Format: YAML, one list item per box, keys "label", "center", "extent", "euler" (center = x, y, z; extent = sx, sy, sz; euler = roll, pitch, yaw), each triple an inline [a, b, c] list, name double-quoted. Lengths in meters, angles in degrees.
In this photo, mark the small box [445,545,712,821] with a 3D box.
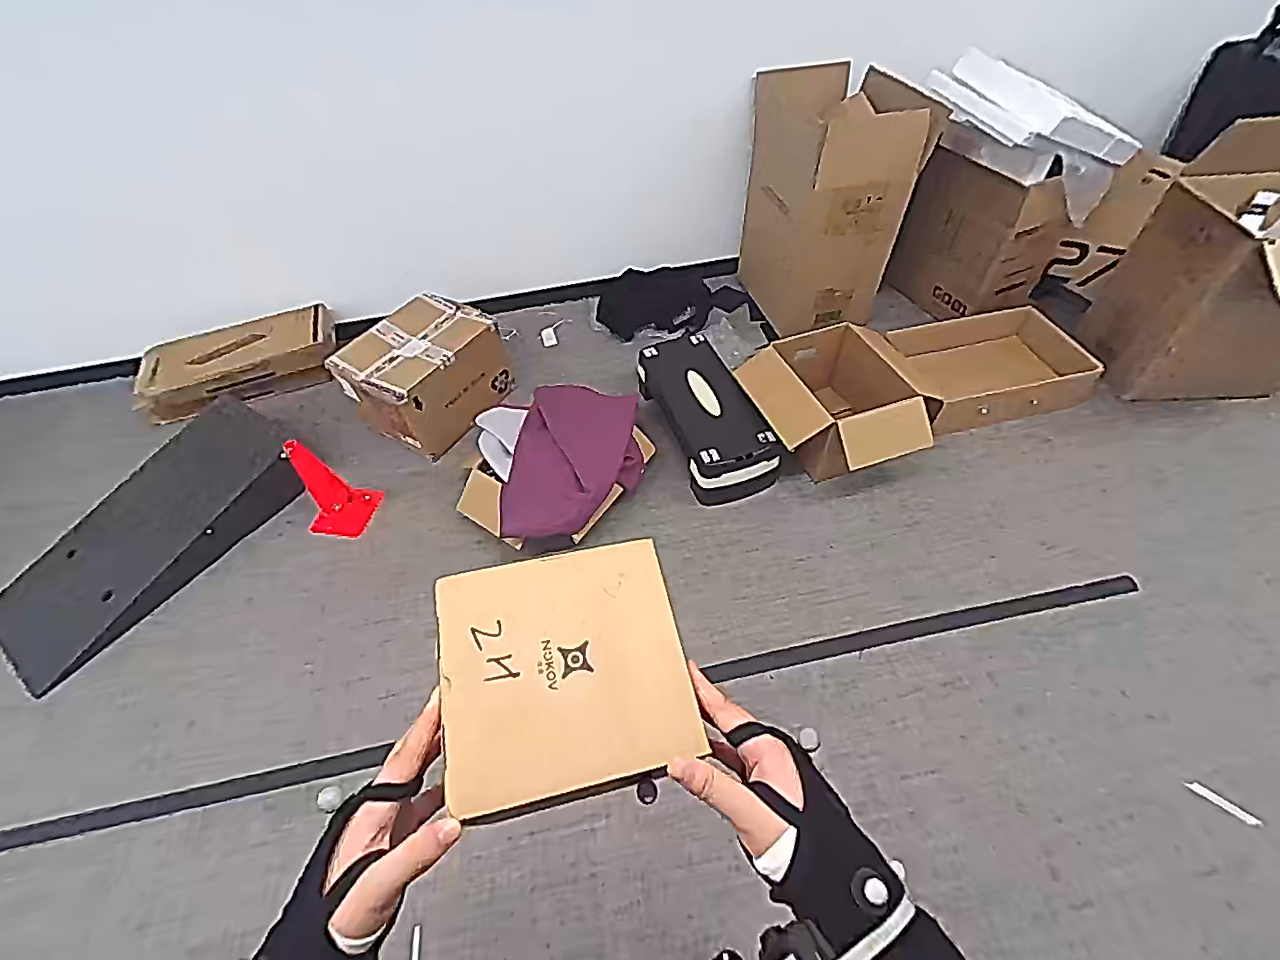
- label: "small box"
  center: [-0.056, 0.175, 0.463]
  extent: [0.179, 0.176, 0.168]
  euler: [-9, 60, -9]
